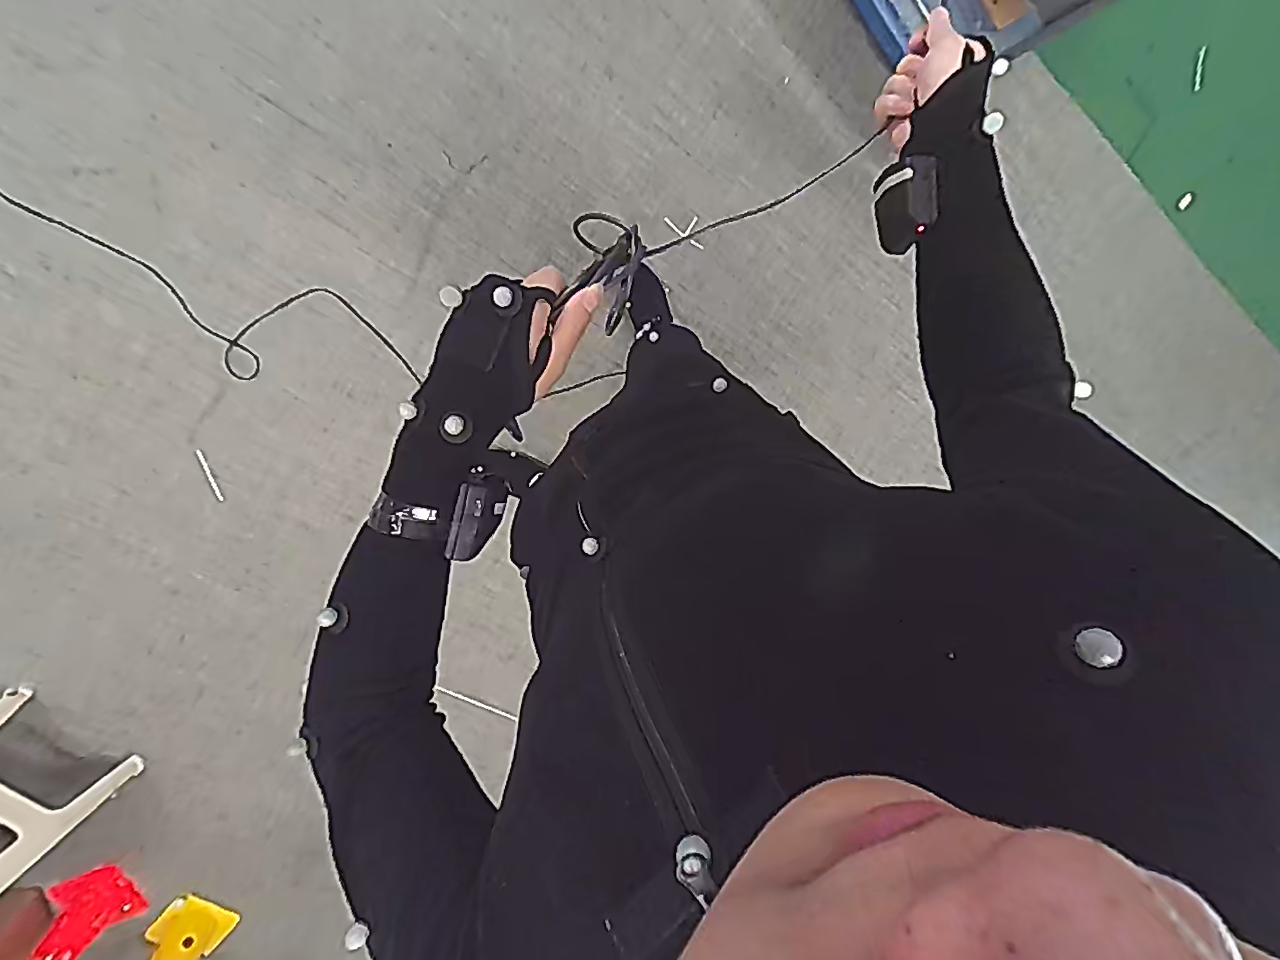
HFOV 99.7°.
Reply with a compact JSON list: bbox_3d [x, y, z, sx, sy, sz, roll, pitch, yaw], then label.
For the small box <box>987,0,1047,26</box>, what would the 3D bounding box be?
[{"bbox_3d":[0.912,-1.202,1.223,0.179,0.176,0.168,-45,107,3],"label":"small box"}]
